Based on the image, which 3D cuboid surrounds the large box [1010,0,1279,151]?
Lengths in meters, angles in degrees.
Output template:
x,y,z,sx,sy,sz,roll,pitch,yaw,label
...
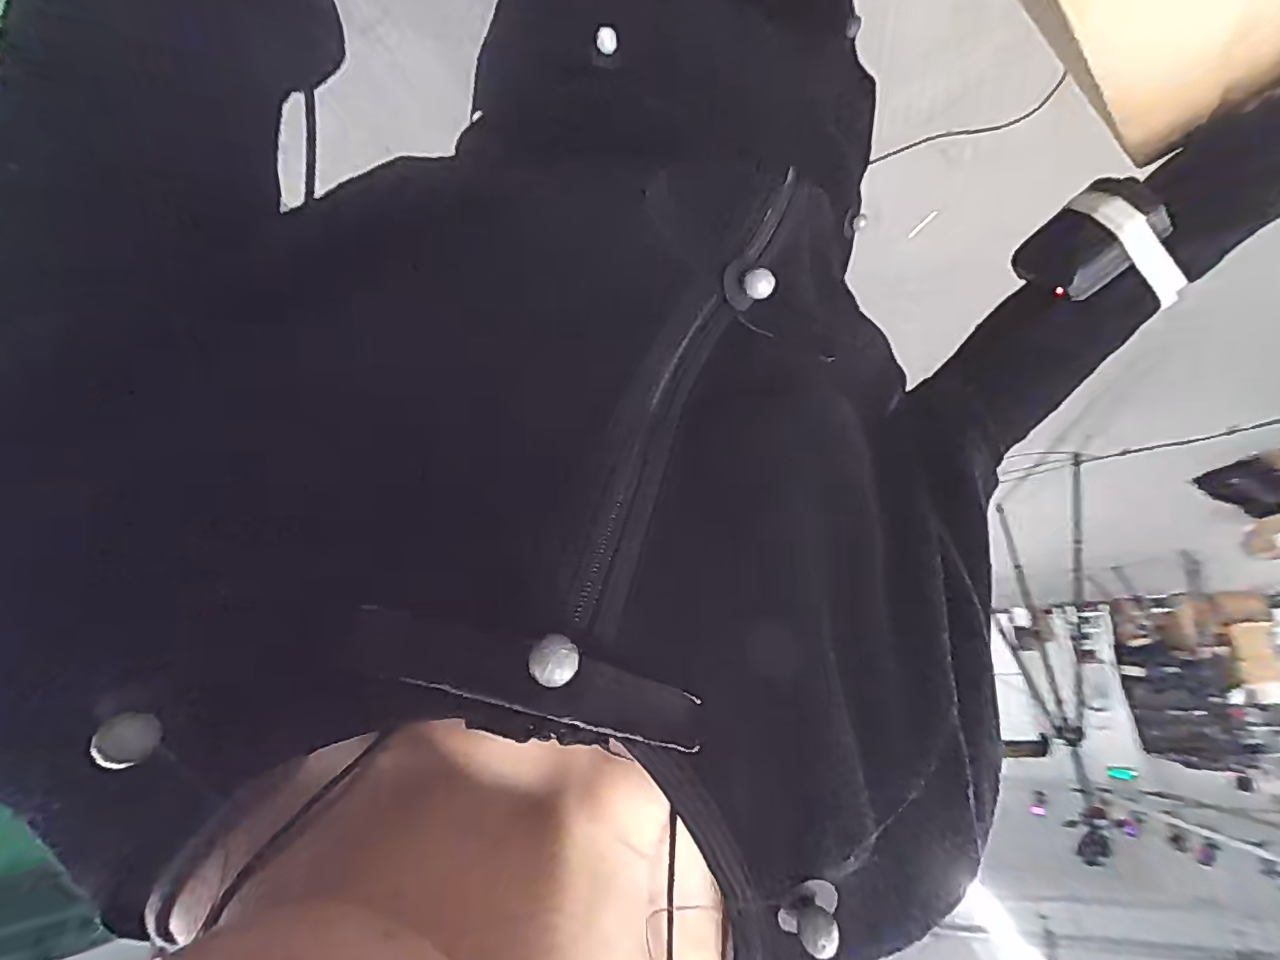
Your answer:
x,y,z,sx,sy,sz,roll,pitch,yaw,label
0.251,-0.453,0.212,0.408,0.320,0.320,20,147,-32,large box
